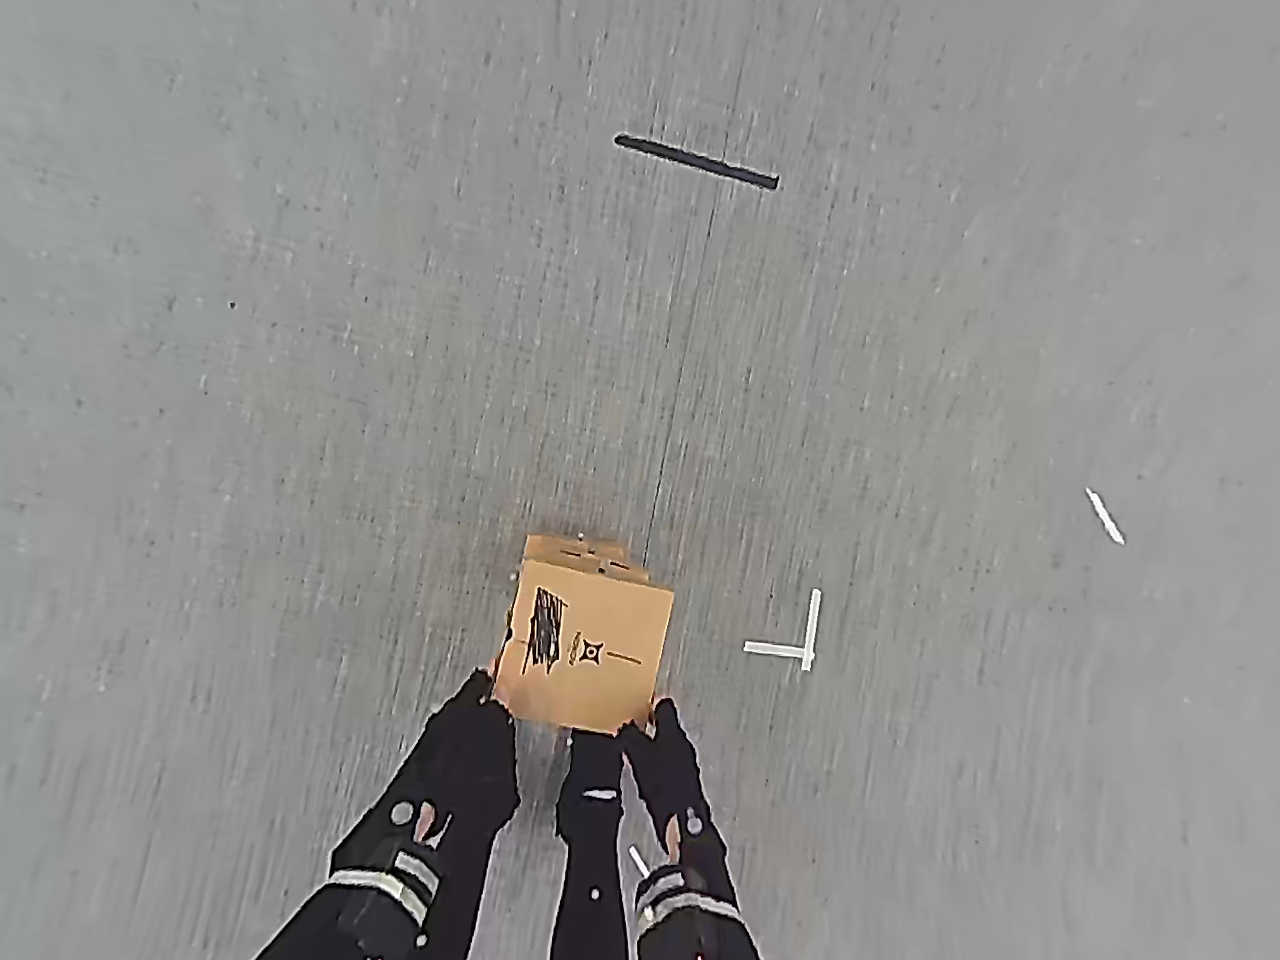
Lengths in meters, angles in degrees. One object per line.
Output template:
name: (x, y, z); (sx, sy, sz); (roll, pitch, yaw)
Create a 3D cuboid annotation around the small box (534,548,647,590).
small box: (-0.102, 0.209, 0.841); (0.168, 0.176, 0.179); (16, 83, -8)

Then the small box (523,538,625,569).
small box: (-0.134, 0.201, 1.003); (0.179, 0.176, 0.168); (9, 85, -8)

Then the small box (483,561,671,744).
small box: (-0.081, 0.202, 0.669); (0.179, 0.176, 0.168); (15, 79, -10)
